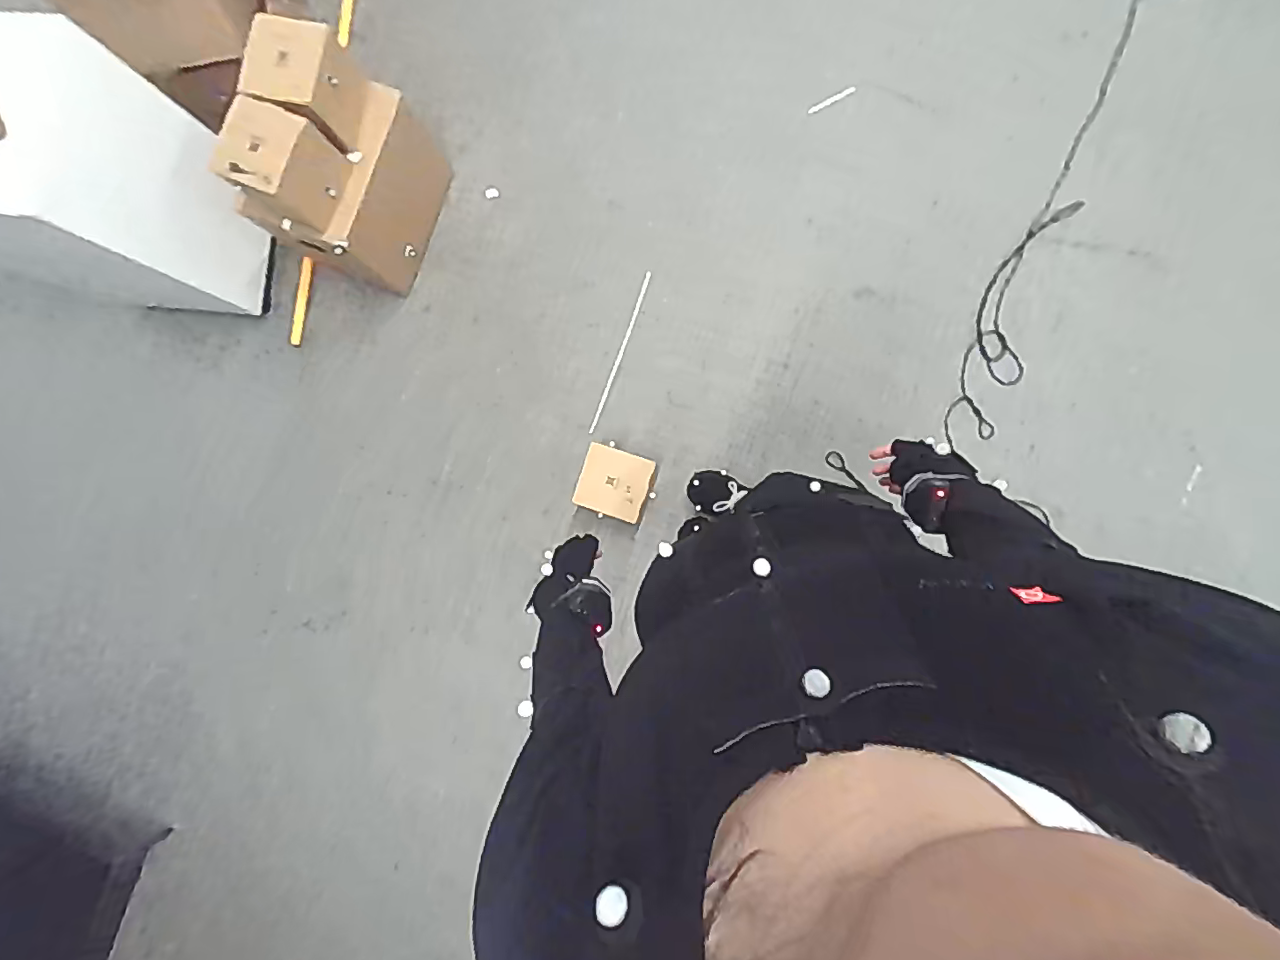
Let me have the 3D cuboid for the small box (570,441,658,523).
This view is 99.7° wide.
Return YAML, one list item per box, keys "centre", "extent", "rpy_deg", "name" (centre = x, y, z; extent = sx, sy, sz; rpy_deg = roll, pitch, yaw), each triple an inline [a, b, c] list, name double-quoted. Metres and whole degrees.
- centre: [-0.061, 0.009, 1.421]
  extent: [0.179, 0.176, 0.168]
  rpy_deg: [19, 90, 5]
  name: "small box"
